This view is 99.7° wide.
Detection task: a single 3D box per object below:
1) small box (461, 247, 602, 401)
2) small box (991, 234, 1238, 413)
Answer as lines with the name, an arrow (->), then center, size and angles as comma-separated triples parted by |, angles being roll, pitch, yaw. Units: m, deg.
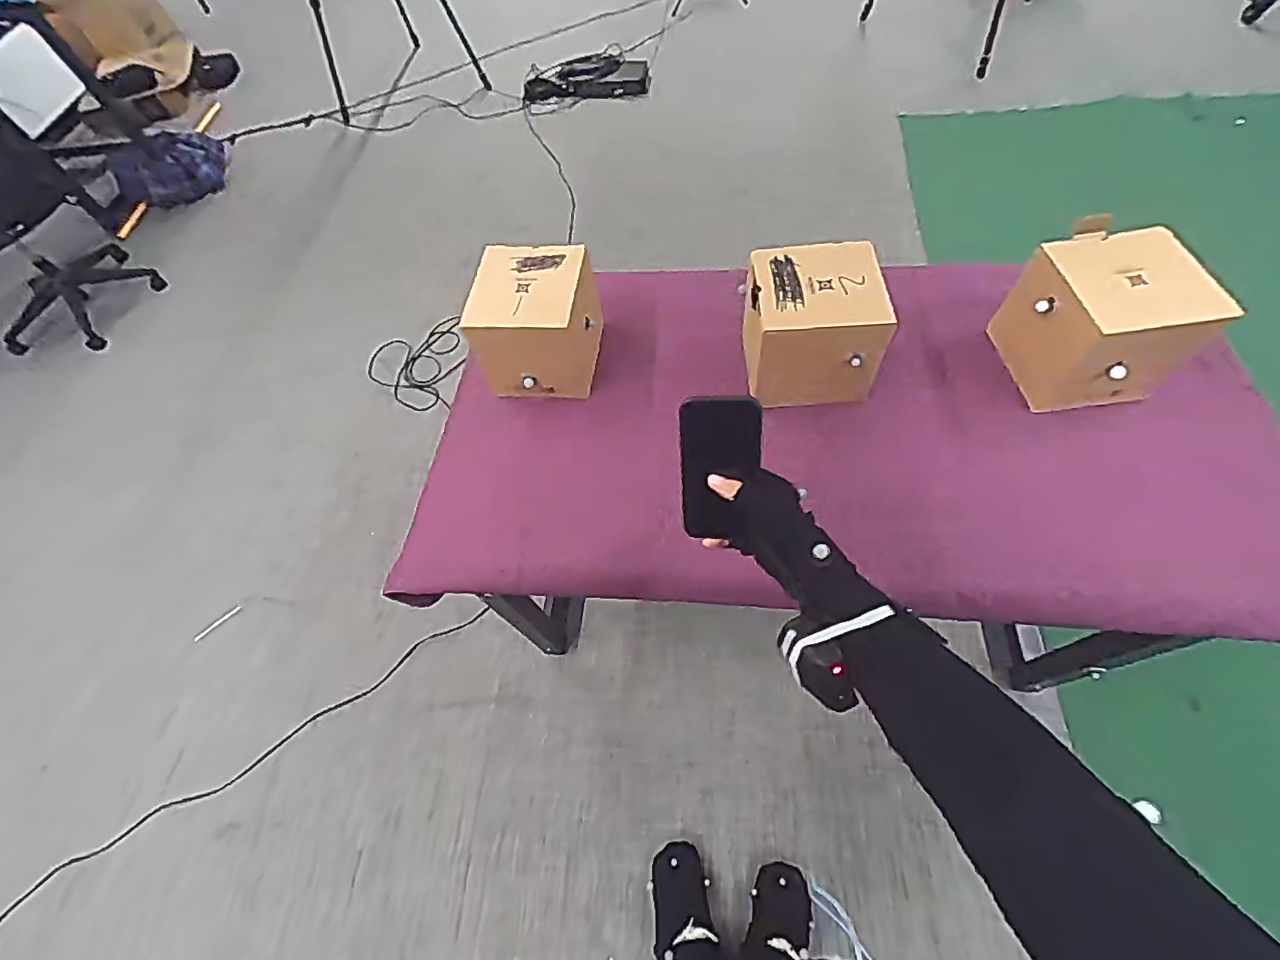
small box -> -0.162, -0.251, 0.878 | 0.168, 0.176, 0.179 | 3, 62, 8
small box -> 0.643, -0.210, 0.765 | 0.168, 0.176, 0.179 | -7, 59, 3
